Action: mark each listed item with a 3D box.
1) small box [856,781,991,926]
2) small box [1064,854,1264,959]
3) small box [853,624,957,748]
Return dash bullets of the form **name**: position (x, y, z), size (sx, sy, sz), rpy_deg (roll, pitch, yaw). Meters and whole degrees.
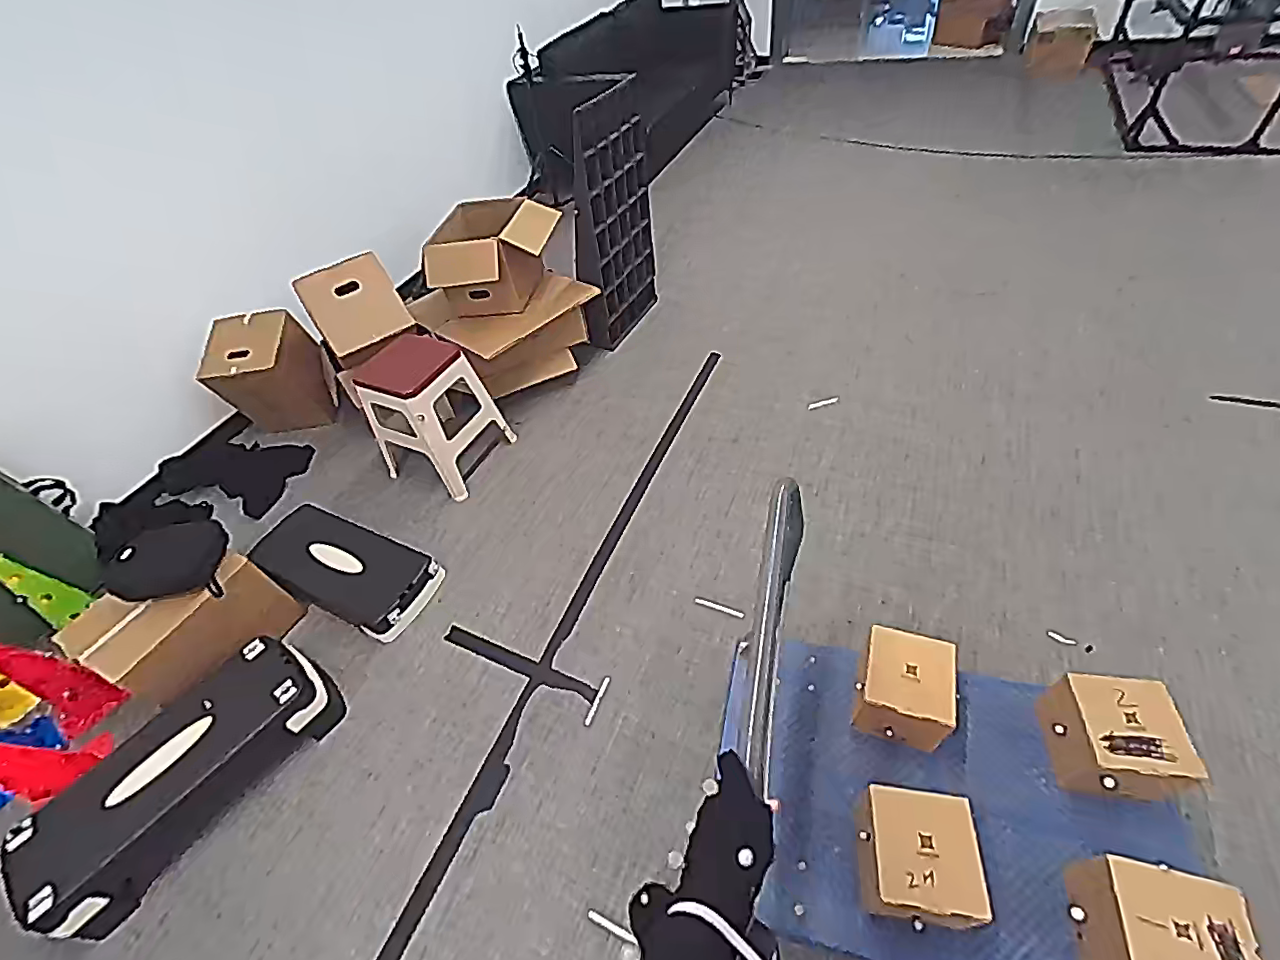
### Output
- **small box**: position (0.492, 0.669, 0.970), size (0.168, 0.176, 0.179), rpy_deg (3, 48, 12)
- **small box**: position (0.829, 0.729, 0.864), size (0.179, 0.176, 0.168), rpy_deg (7, 50, 16)
- **small box**: position (0.565, 0.444, 1.164), size (0.168, 0.176, 0.179), rpy_deg (11, 52, 17)
